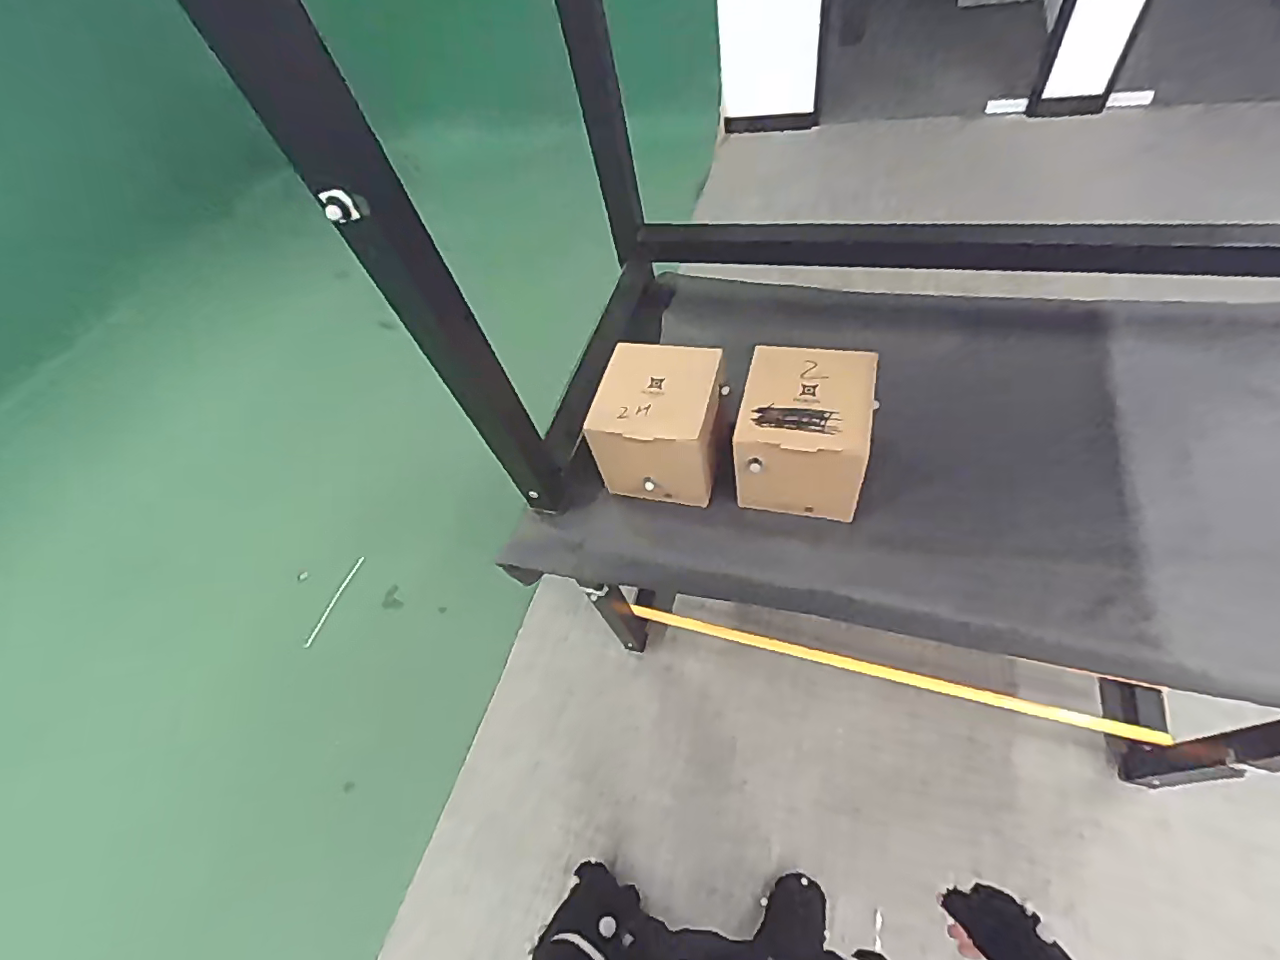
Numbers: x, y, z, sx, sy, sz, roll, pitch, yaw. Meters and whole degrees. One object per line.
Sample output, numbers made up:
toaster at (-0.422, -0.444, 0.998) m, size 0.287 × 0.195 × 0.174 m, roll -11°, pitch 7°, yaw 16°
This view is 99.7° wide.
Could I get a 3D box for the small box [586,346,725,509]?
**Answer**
small box at (0.036, -0.080, 0.833) m, size 0.168 × 0.176 × 0.179 m, roll 8°, pitch 58°, yaw 17°
